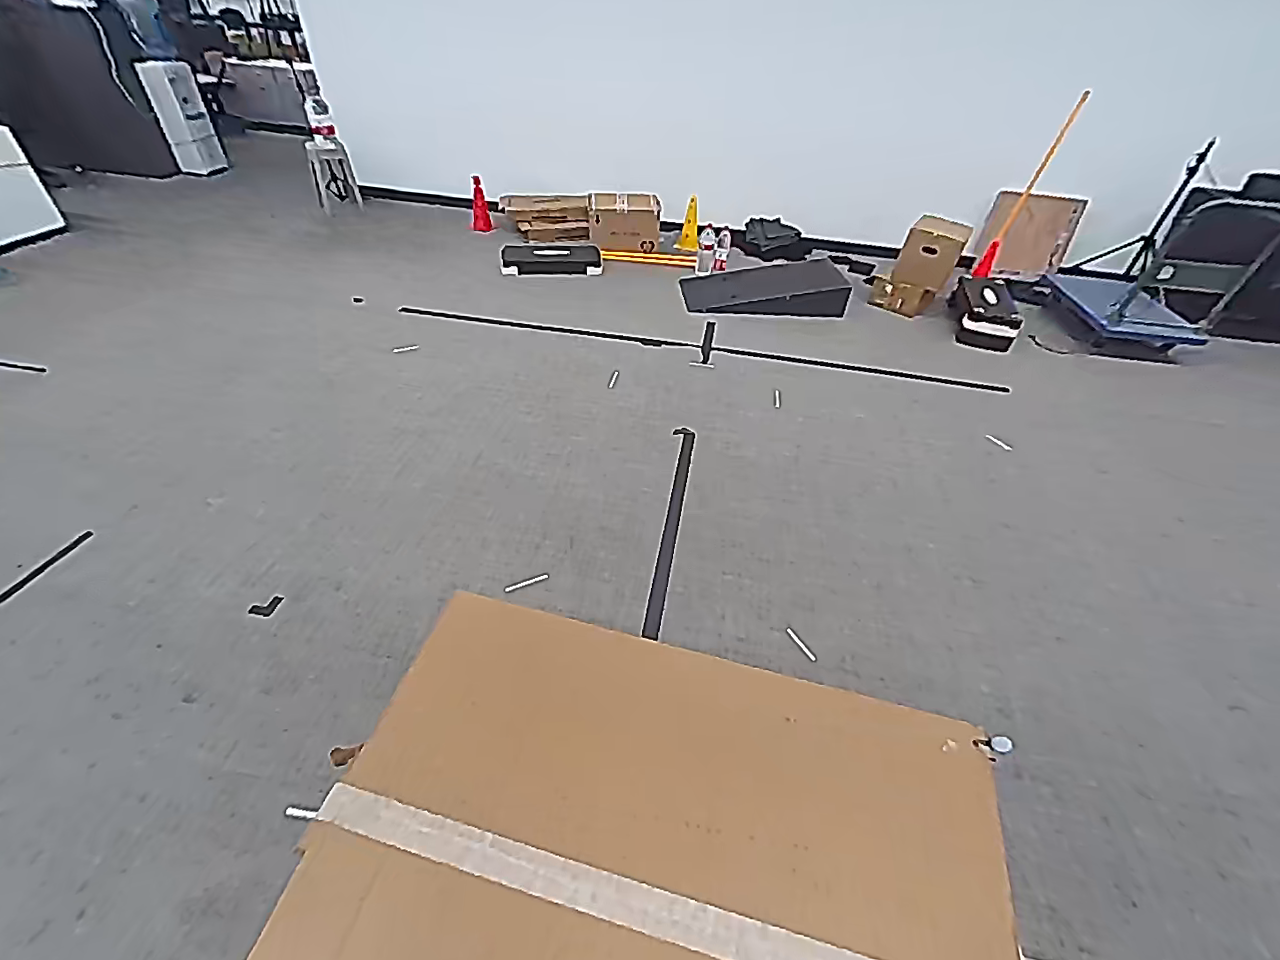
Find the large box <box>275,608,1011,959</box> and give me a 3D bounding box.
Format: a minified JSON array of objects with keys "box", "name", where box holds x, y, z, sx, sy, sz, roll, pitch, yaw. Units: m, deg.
[{"box":[0.004,0.349,0.426,0.408,0.320,0.320,12,50,8],"name":"large box"}]
